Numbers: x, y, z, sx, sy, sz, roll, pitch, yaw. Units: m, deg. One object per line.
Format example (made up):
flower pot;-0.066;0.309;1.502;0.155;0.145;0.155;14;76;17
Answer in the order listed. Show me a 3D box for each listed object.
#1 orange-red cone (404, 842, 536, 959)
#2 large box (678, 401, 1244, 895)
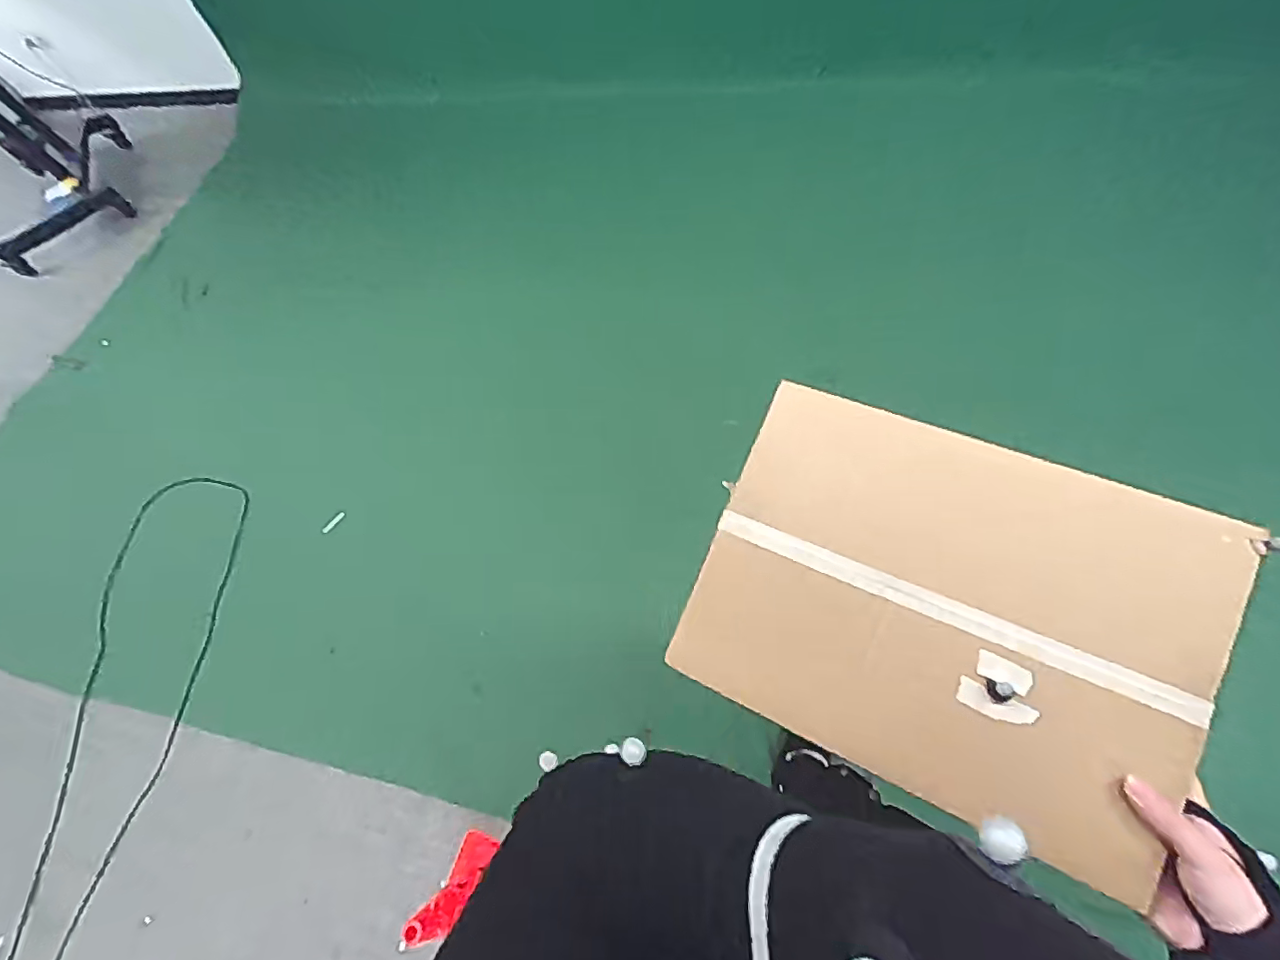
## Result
orange-red cone;-0.397;0.943;1.162;0.199;0.360;0.198;14;67;17
large box;0.303;0.149;0.631;0.408;0.320;0.320;21;84;18
